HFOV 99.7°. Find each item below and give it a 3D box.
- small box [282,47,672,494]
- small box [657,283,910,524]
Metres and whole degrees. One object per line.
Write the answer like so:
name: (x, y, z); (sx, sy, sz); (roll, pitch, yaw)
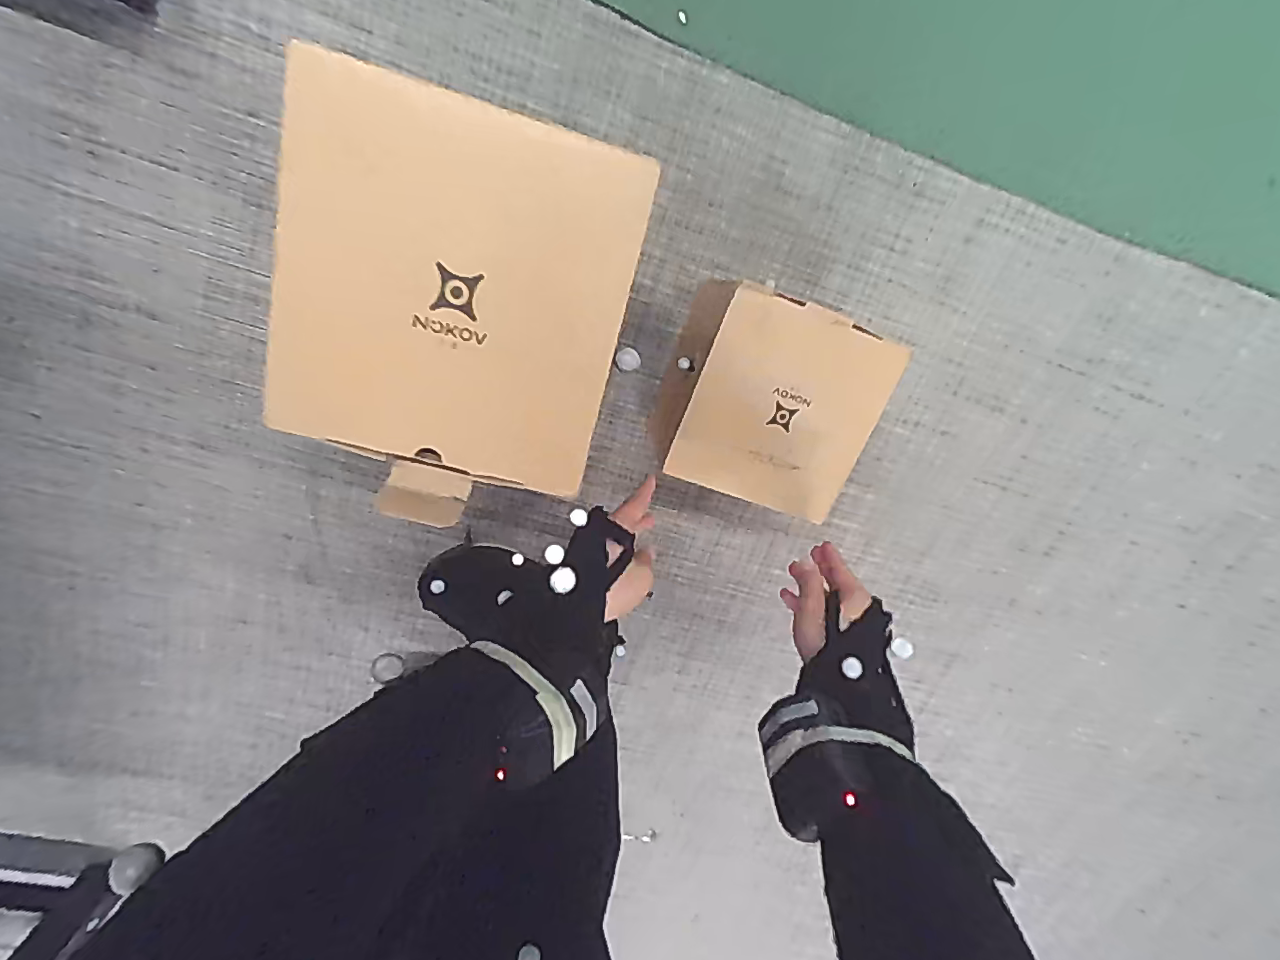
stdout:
small box: (-0.092, -0.115, 0.345); (0.168, 0.176, 0.179); (13, 108, -10)
small box: (0.123, -0.086, 0.548); (0.168, 0.176, 0.179); (18, 108, -10)
